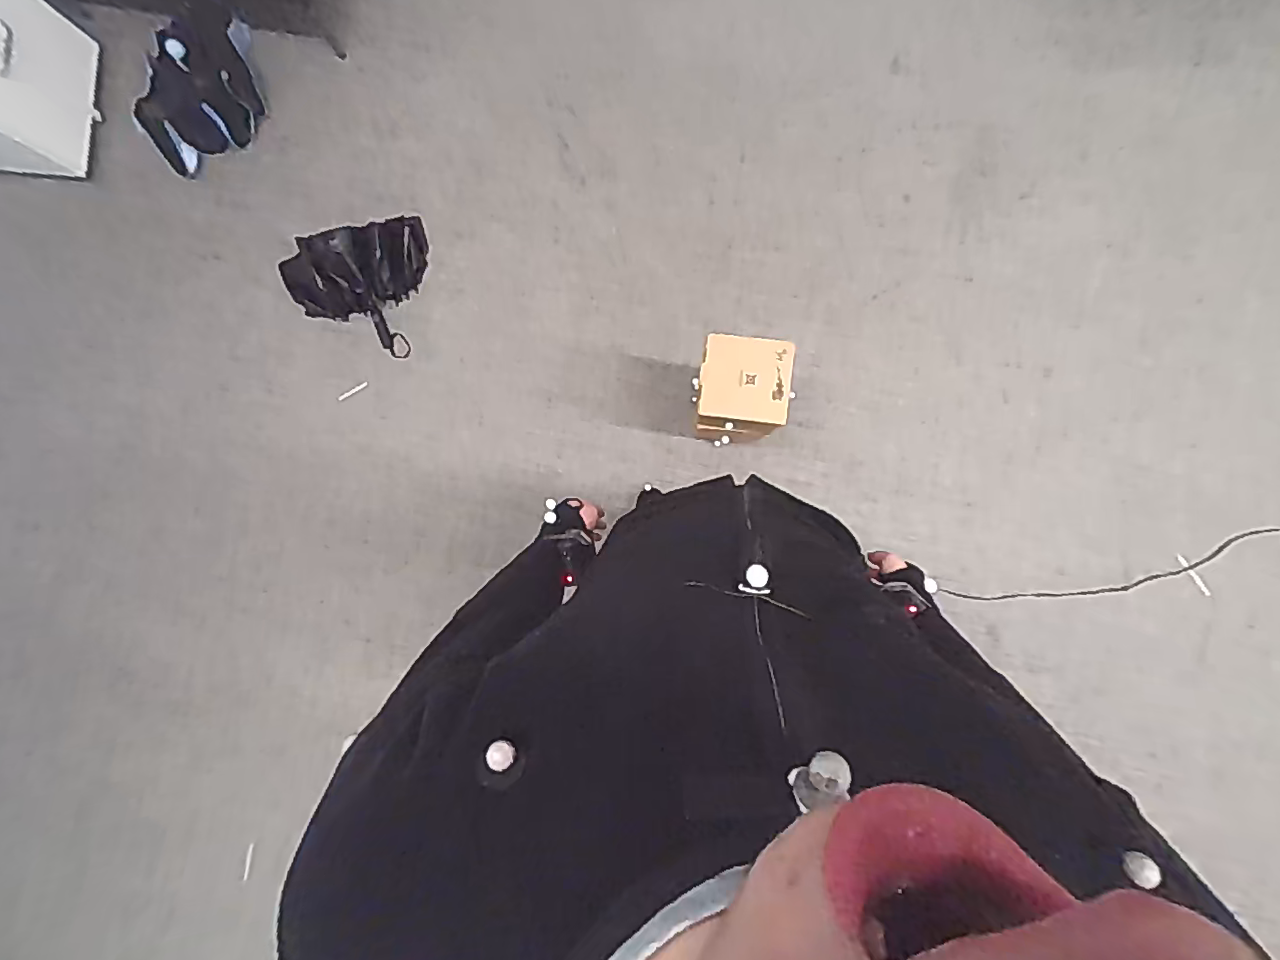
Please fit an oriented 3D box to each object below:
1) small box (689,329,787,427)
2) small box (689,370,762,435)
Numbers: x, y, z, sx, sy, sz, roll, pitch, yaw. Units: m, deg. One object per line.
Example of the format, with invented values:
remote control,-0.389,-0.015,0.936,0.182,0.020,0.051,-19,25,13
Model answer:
small box,0.200,-0.209,1.151,0.179,0.176,0.168,8,90,4
small box,0.209,-0.210,1.314,0.168,0.176,0.179,6,91,3
